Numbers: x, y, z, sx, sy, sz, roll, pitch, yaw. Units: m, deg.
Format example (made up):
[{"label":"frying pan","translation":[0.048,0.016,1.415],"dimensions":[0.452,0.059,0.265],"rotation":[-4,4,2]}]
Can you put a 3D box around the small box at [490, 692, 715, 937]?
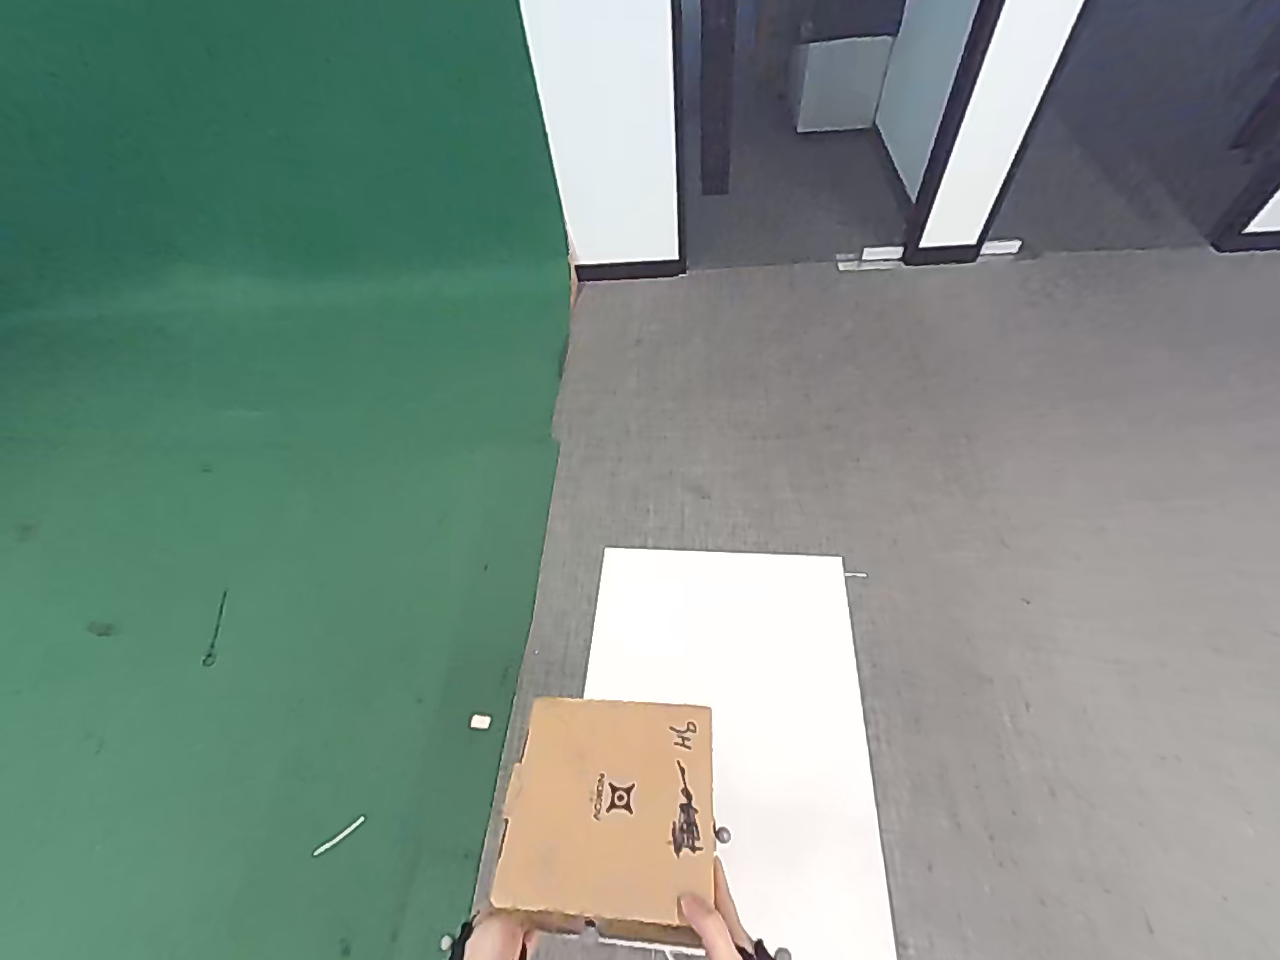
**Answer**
[{"label":"small box","translation":[-0.018,0.325,0.526],"dimensions":[0.179,0.176,0.168],"rotation":[0,46,8]}]
